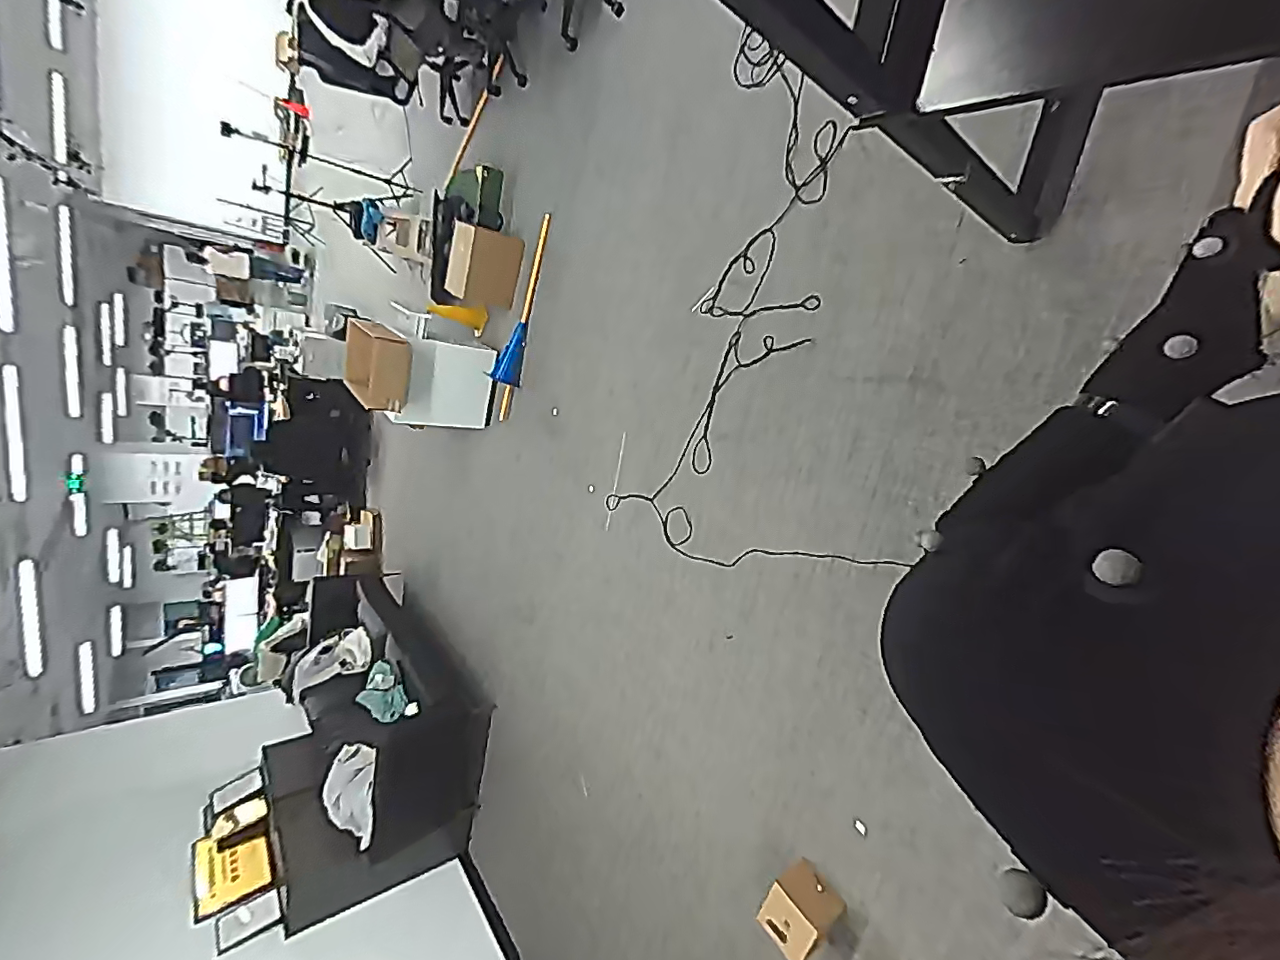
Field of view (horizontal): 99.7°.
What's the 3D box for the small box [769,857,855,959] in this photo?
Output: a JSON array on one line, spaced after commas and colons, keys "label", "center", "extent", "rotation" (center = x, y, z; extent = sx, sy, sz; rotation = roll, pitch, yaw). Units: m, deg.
[{"label": "small box", "center": [0.540, 1.336, 1.685], "extent": [0.168, 0.176, 0.179], "rotation": [34, 115, 44]}]
